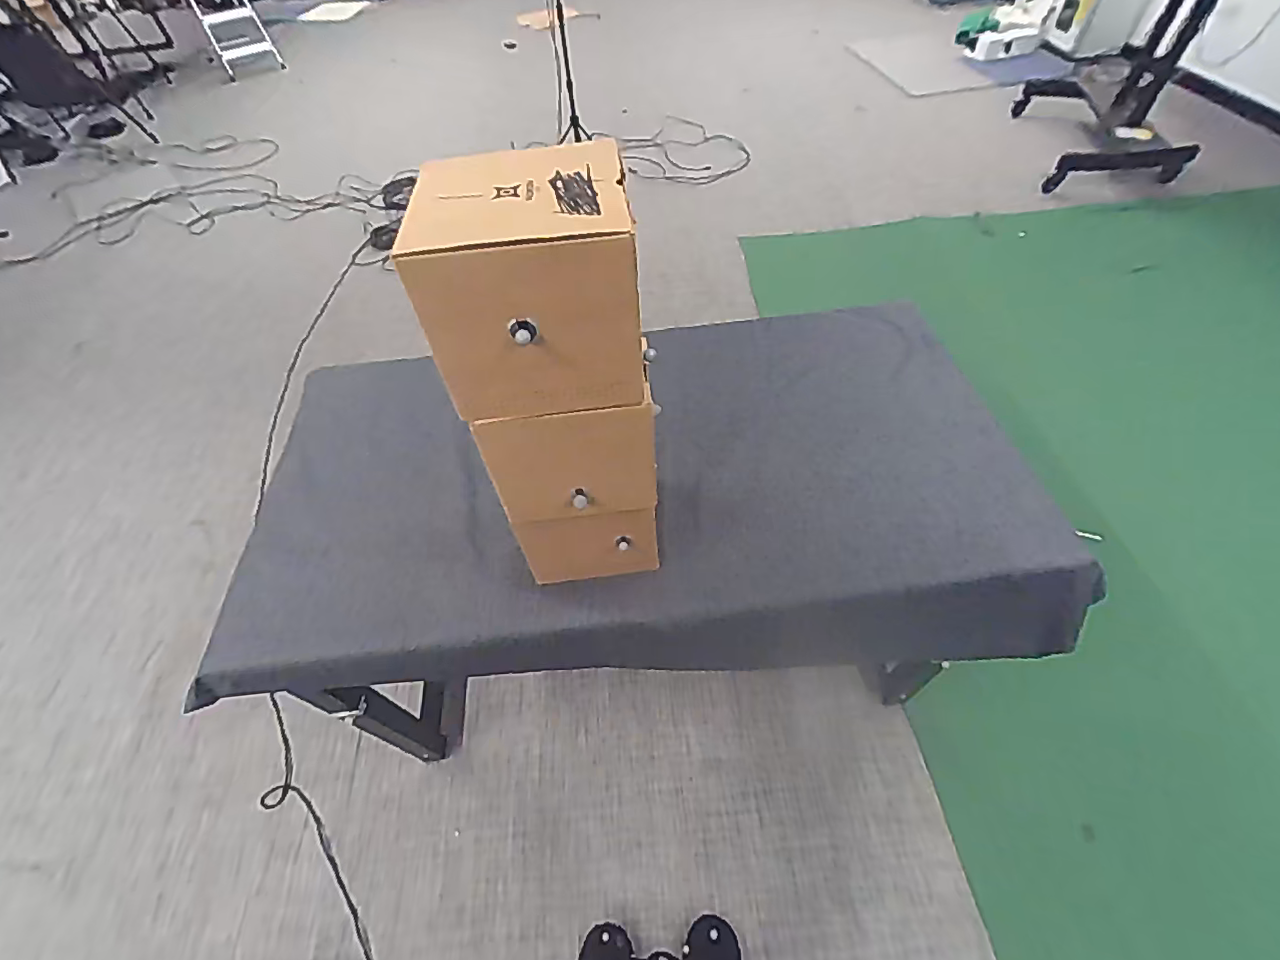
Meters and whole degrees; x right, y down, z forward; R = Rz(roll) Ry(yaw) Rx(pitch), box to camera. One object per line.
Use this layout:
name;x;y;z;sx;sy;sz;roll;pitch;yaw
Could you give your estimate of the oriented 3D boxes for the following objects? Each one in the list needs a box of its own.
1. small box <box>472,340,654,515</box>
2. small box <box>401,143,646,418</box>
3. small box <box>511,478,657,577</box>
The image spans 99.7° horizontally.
small box;-0.078;-0.076;0.624;0.179;0.176;0.168;-6;52;-1
small box;-0.091;-0.176;0.494;0.179;0.176;0.168;-8;53;-3
small box;-0.071;0.018;0.757;0.179;0.176;0.168;-8;52;0
